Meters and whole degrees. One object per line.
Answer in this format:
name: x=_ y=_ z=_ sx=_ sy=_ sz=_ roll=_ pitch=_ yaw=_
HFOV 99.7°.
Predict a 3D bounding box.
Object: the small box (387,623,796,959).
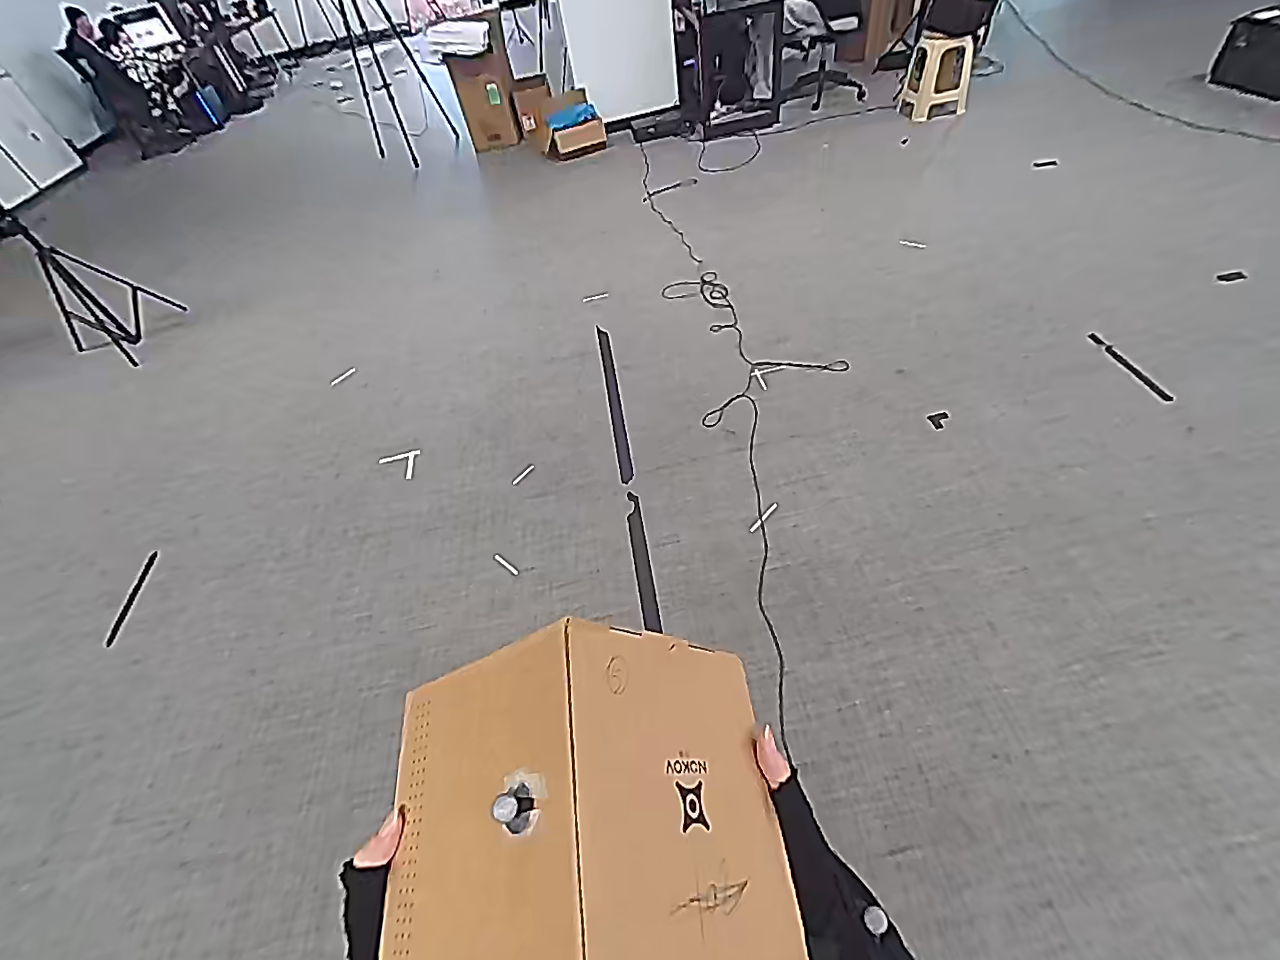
small box: x=-0.035 y=0.214 z=0.341 sx=0.176 sy=0.168 sz=0.179 roll=-32 pitch=49 yaw=31
